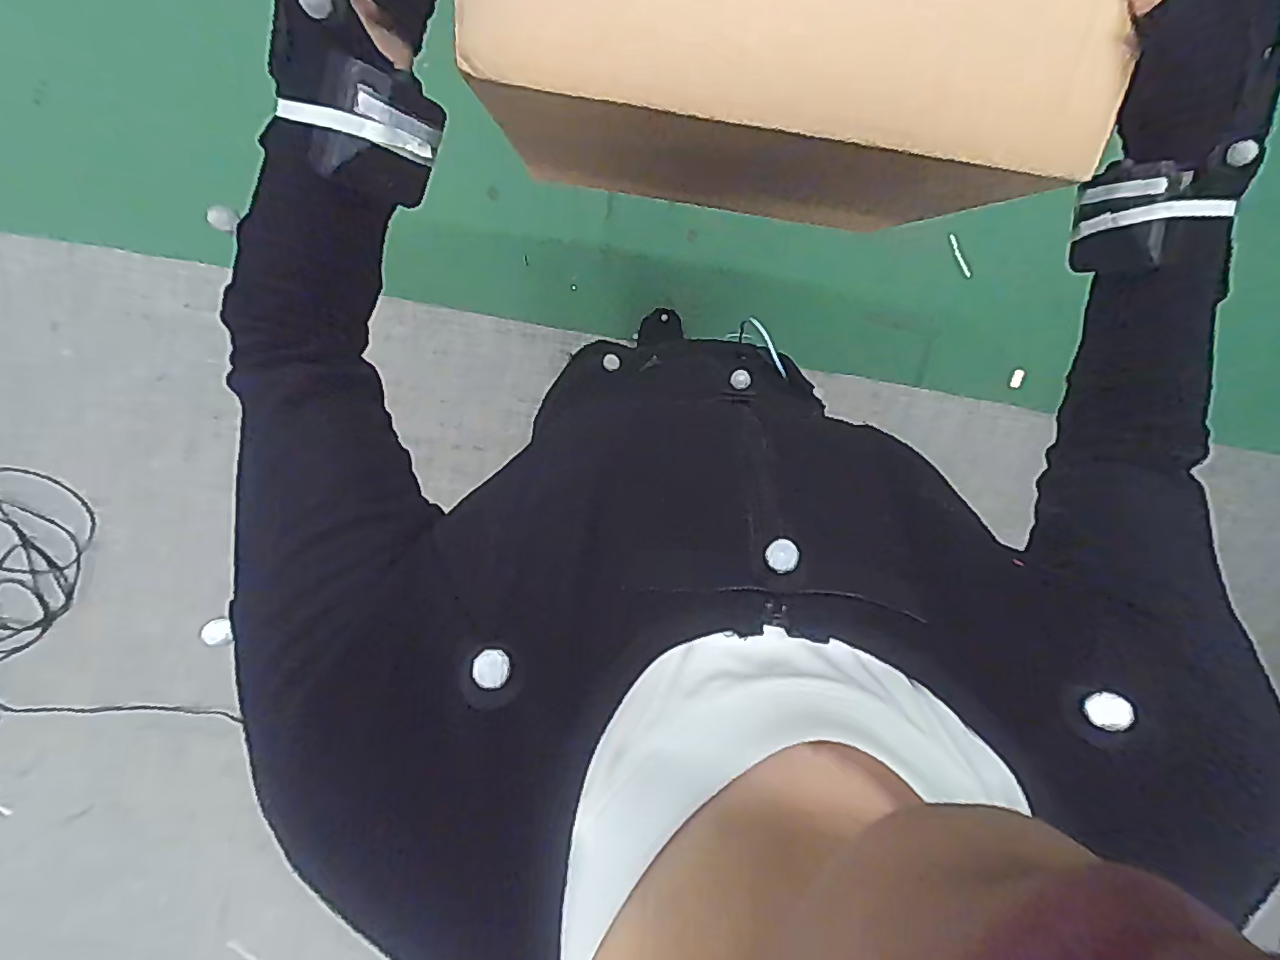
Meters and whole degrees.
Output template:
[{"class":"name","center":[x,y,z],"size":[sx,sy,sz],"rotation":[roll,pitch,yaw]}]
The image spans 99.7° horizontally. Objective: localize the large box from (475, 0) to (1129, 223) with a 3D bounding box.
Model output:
[{"class":"large box","center":[0.103,-0.417,0.440],"size":[0.408,0.320,0.320],"rotation":[6,109,-5]}]
